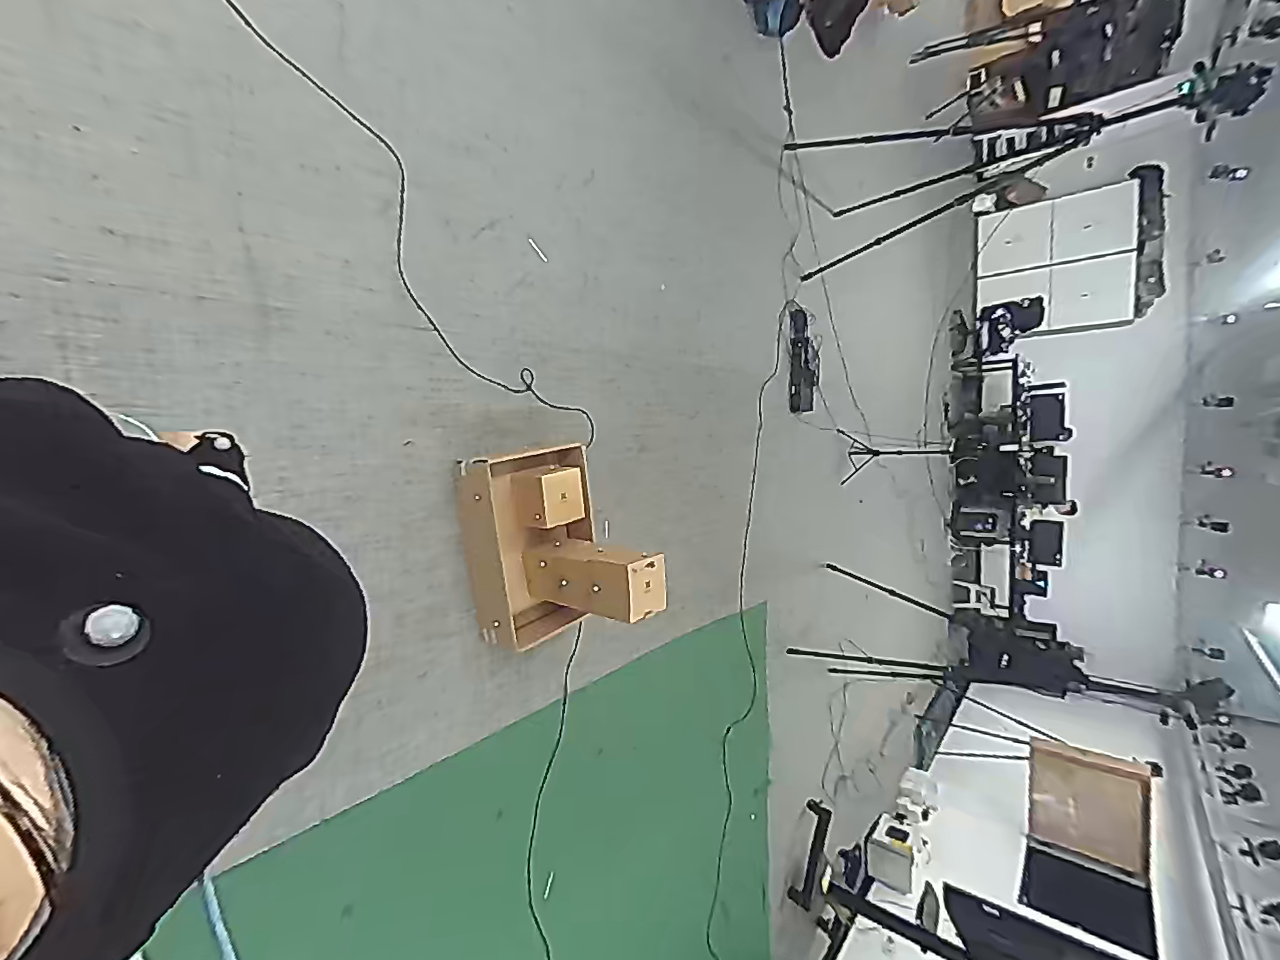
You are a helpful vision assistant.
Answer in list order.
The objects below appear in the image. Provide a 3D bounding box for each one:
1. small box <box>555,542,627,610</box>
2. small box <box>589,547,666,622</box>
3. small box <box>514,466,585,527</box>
[{"bbox_3d":[-0.155,0.306,1.765,0.179,0.176,0.168,-14,101,-47],"label":"small box"},{"bbox_3d":[-0.039,0.311,1.646,0.168,0.176,0.179,-8,97,-49],"label":"small box"},{"bbox_3d":[-0.308,0.049,1.826,0.168,0.176,0.179,-16,105,-46],"label":"small box"}]
